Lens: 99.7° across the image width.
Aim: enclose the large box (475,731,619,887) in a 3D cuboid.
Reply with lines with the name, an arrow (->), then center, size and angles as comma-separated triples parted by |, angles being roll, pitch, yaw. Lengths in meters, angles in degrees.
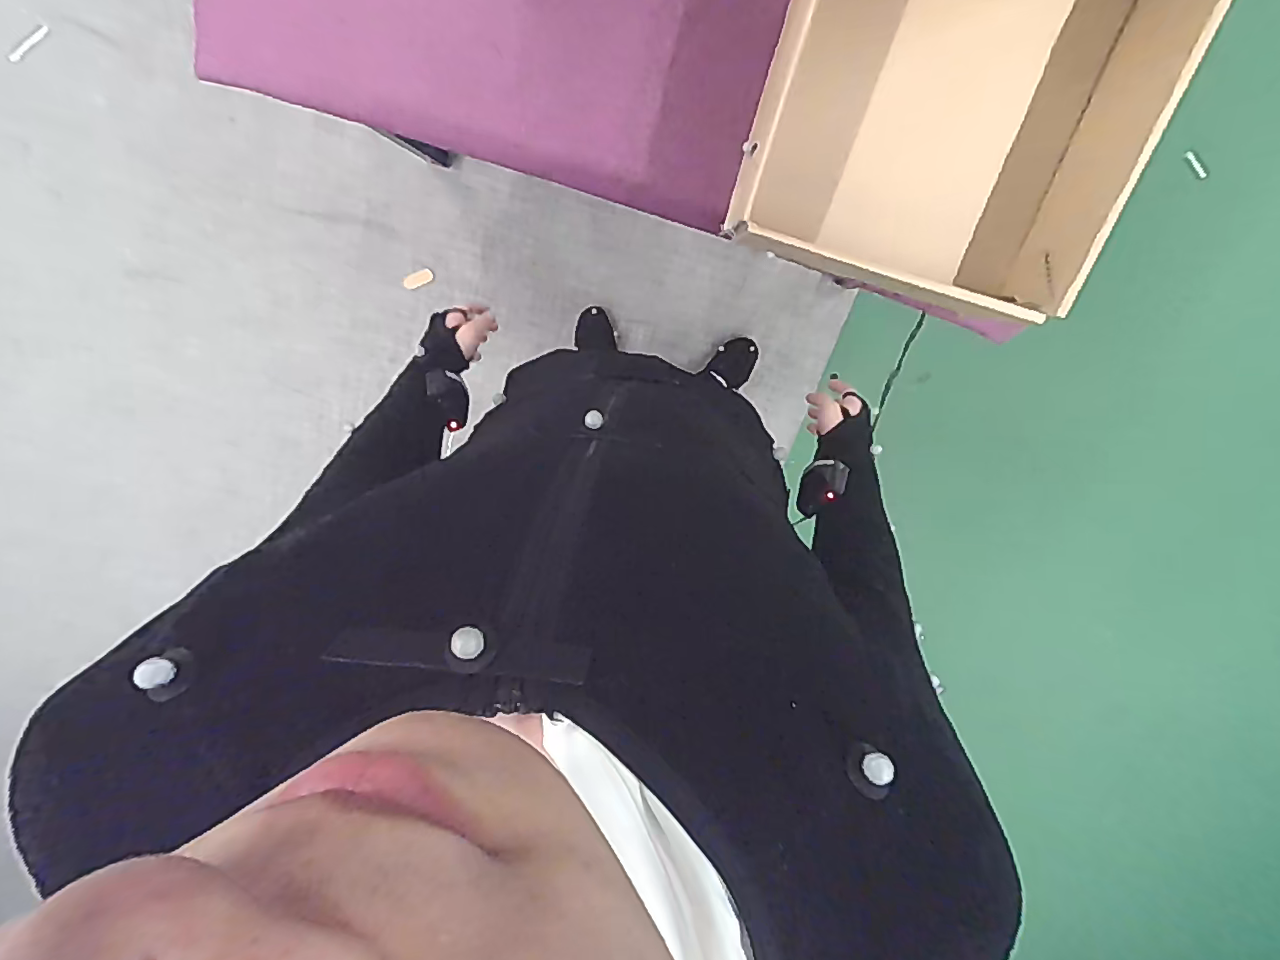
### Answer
large box -> -0.312, 1.163, 1.933 | 0.408, 0.320, 0.320 | -15, 109, 6
